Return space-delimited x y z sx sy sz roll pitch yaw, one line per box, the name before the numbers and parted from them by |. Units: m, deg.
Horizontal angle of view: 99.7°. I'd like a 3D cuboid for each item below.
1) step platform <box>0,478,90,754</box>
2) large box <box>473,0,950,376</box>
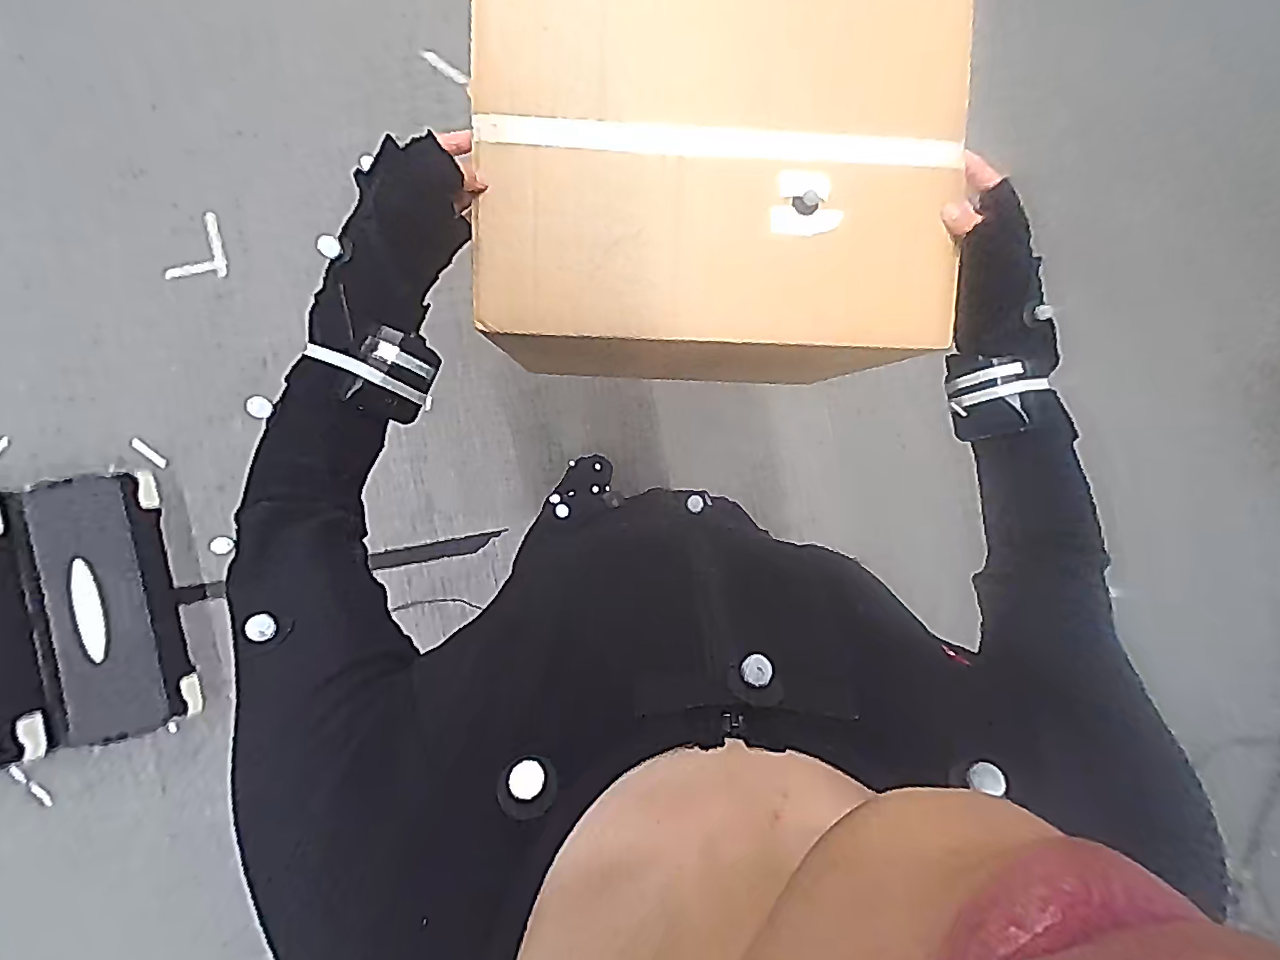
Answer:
step platform | -1.644 0.337 1.326 0.286 0.204 0.684 -13 88 -3
large box | 0.053 -0.291 0.600 0.408 0.320 0.320 0 95 -5
